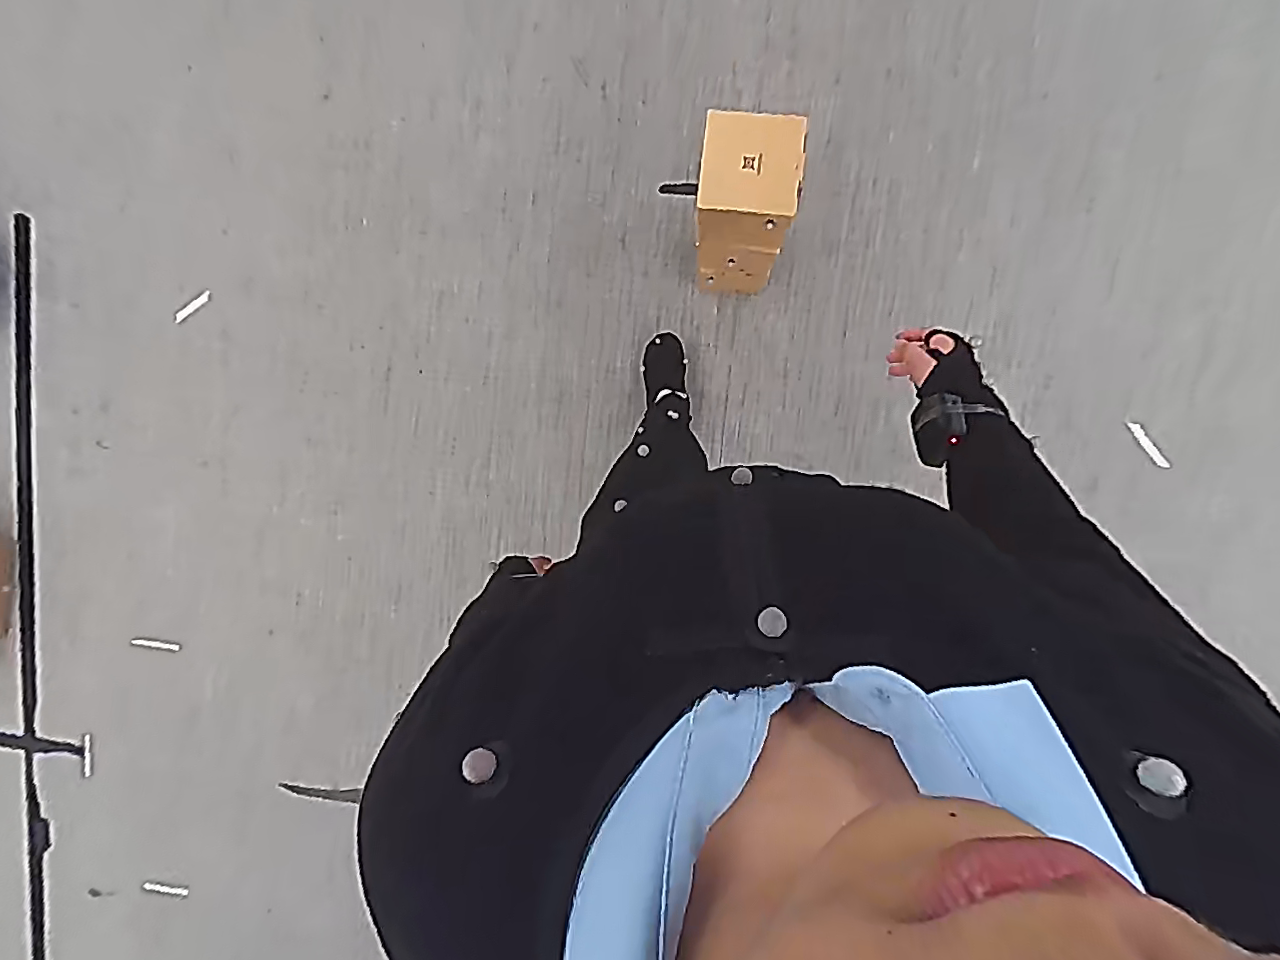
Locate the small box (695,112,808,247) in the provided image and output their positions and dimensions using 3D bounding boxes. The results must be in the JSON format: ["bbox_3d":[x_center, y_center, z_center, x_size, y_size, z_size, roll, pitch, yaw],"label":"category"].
[{"bbox_3d":[0.198,-0.550,1.009,0.179,0.176,0.168,6,96,4],"label":"small box"}]

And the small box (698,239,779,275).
[{"bbox_3d":[0.220,-0.561,1.171,0.168,0.176,0.179,10,95,3],"label":"small box"}]
